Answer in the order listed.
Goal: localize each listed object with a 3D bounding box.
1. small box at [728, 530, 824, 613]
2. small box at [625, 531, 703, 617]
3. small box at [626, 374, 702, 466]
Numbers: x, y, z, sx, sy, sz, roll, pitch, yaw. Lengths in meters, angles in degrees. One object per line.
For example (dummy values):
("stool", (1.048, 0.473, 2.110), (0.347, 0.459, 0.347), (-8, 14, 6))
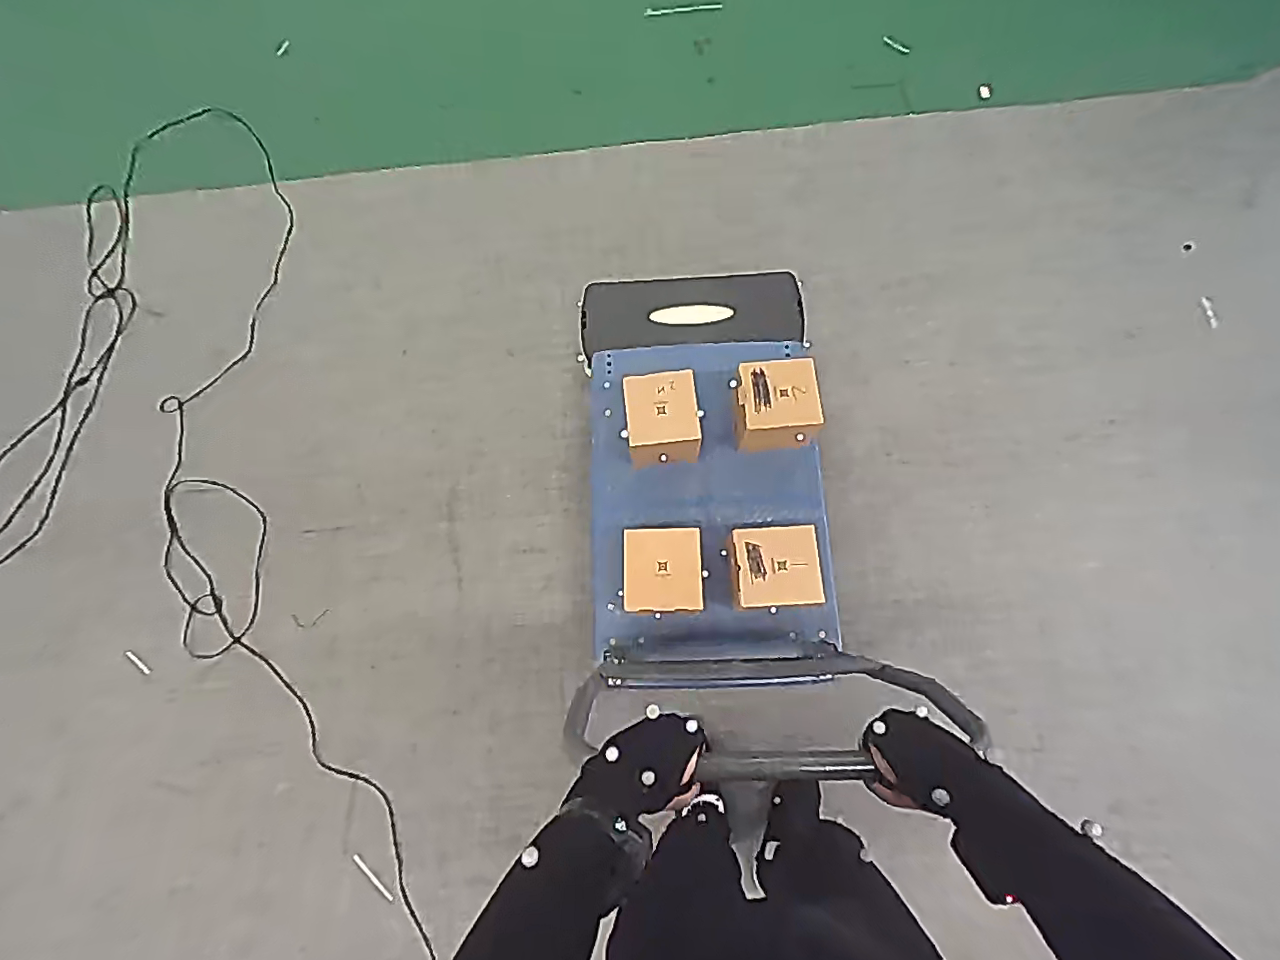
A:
("small box", (0.294, 0.209, 1.208), (0.179, 0.176, 0.168), (-2, 75, 1))
("small box", (0.052, 0.216, 1.220), (0.168, 0.176, 0.179), (-1, 75, 2))
("small box", (0.057, -0.137, 1.316), (0.168, 0.176, 0.179), (-5, 75, 0))
